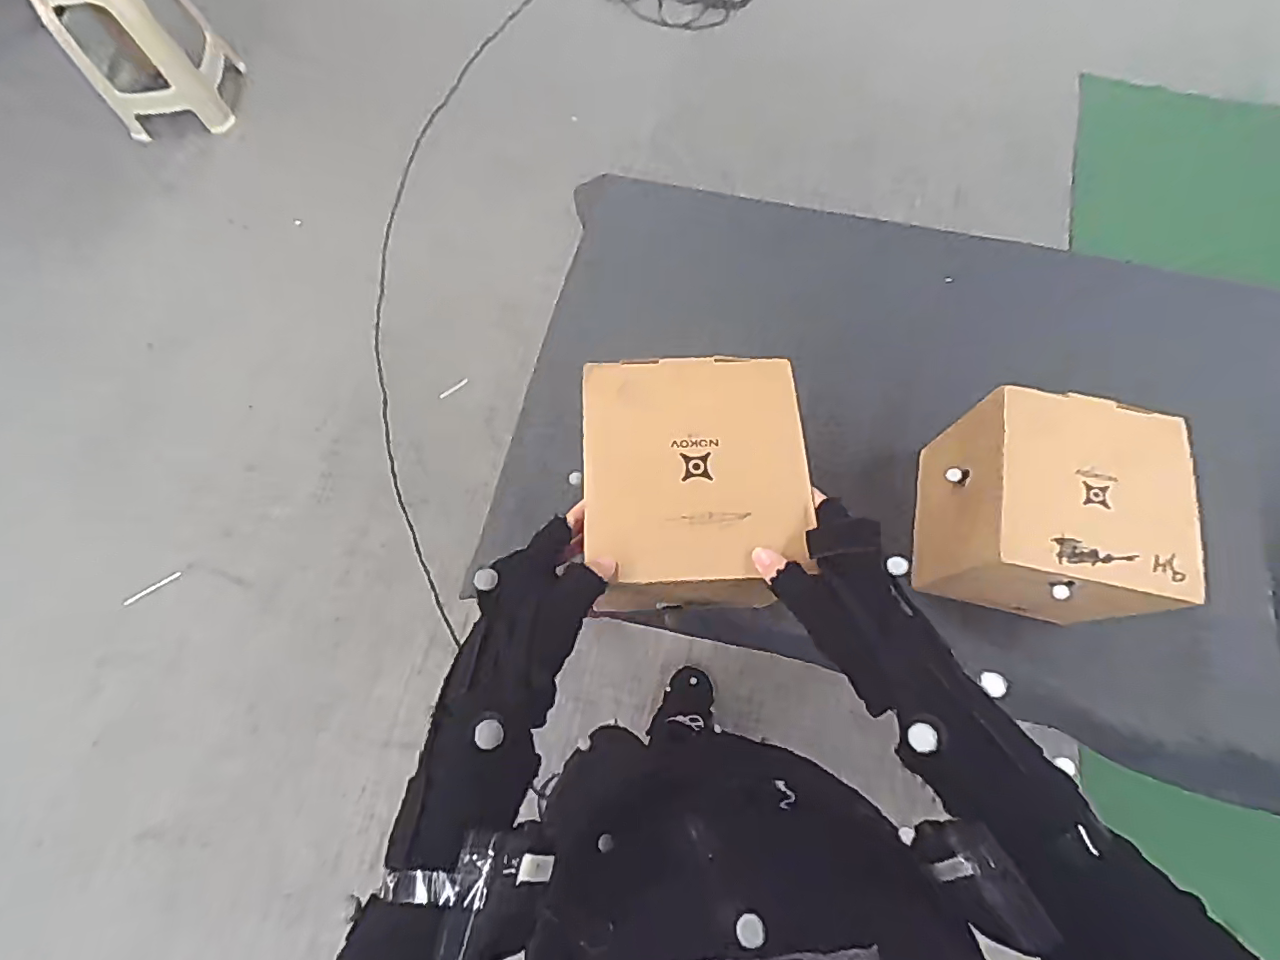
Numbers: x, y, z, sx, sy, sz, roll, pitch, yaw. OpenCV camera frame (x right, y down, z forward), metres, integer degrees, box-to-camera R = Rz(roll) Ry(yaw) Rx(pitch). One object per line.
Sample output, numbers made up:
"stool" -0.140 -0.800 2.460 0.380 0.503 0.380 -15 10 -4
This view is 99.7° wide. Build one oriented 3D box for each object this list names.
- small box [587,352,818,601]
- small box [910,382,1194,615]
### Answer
"small box" 0.039 0.007 0.480 0.168 0.176 0.179 -2 72 -2
"small box" 0.399 0.028 0.558 0.168 0.176 0.179 12 71 6
